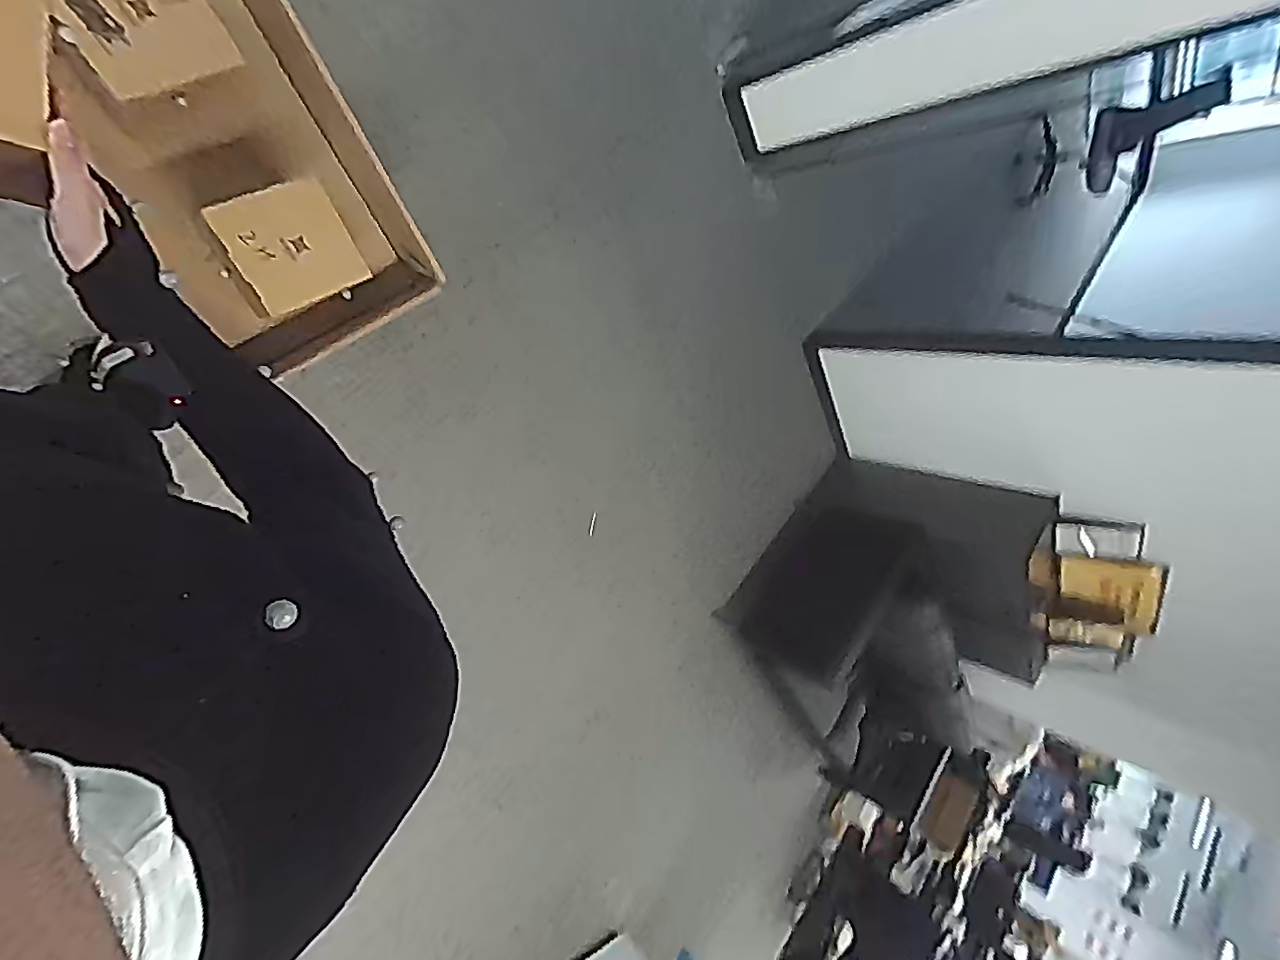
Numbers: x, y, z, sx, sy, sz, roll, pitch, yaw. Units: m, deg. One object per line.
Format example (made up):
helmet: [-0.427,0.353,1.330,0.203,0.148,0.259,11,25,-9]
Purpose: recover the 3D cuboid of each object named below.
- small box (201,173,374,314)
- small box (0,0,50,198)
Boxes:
small box: [-0.593,-0.393,0.909,0.179,0.176,0.168,-38,125,-27]
small box: [-0.557,-0.341,0.396,0.168,0.176,0.179,-1,96,-47]
